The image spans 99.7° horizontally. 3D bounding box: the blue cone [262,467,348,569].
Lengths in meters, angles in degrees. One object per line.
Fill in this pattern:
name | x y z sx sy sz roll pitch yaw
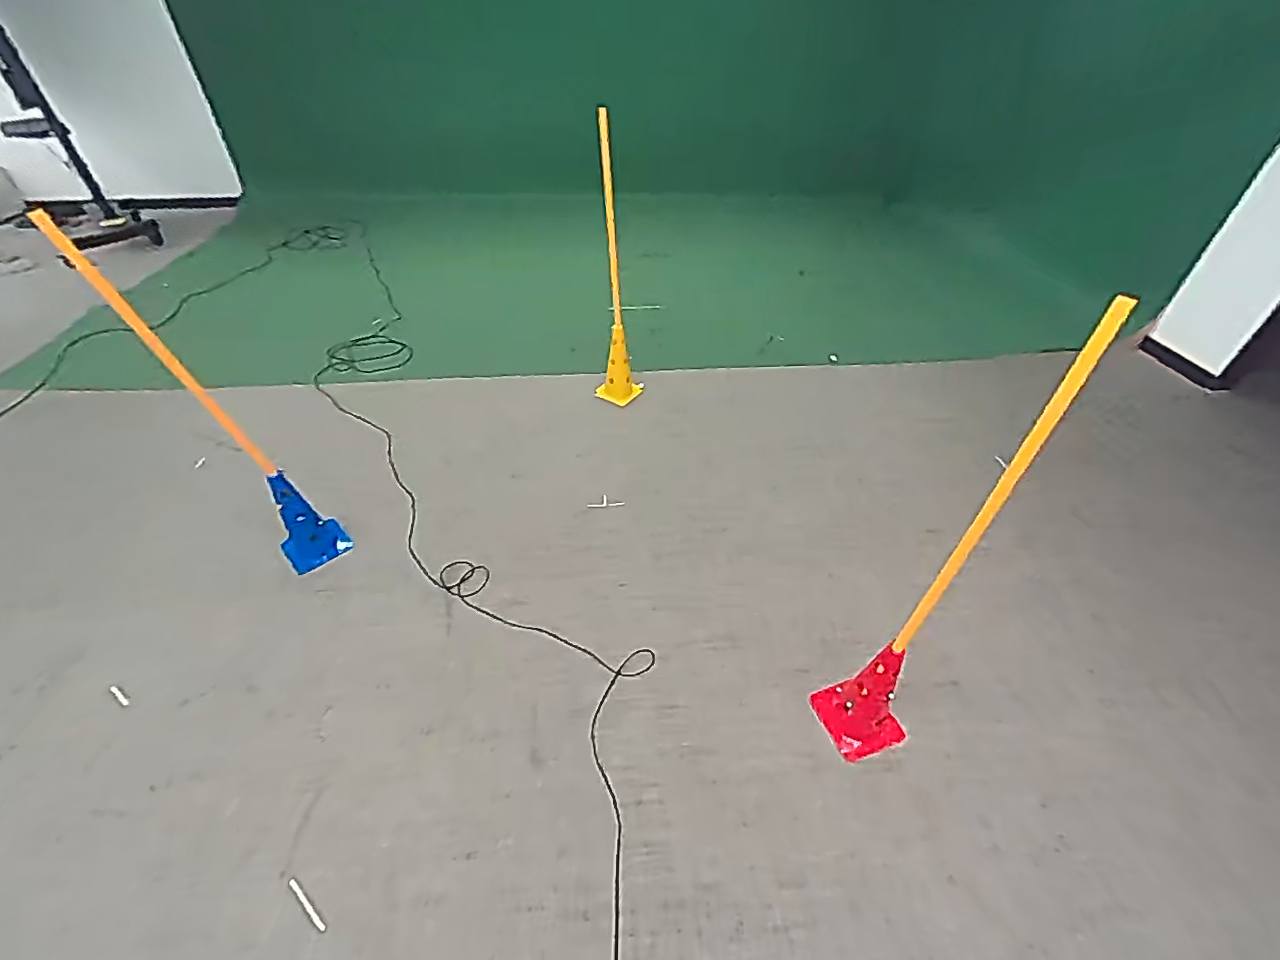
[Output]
blue cone | -1.169 0.110 1.828 0.192 0.380 0.193 33 53 30
